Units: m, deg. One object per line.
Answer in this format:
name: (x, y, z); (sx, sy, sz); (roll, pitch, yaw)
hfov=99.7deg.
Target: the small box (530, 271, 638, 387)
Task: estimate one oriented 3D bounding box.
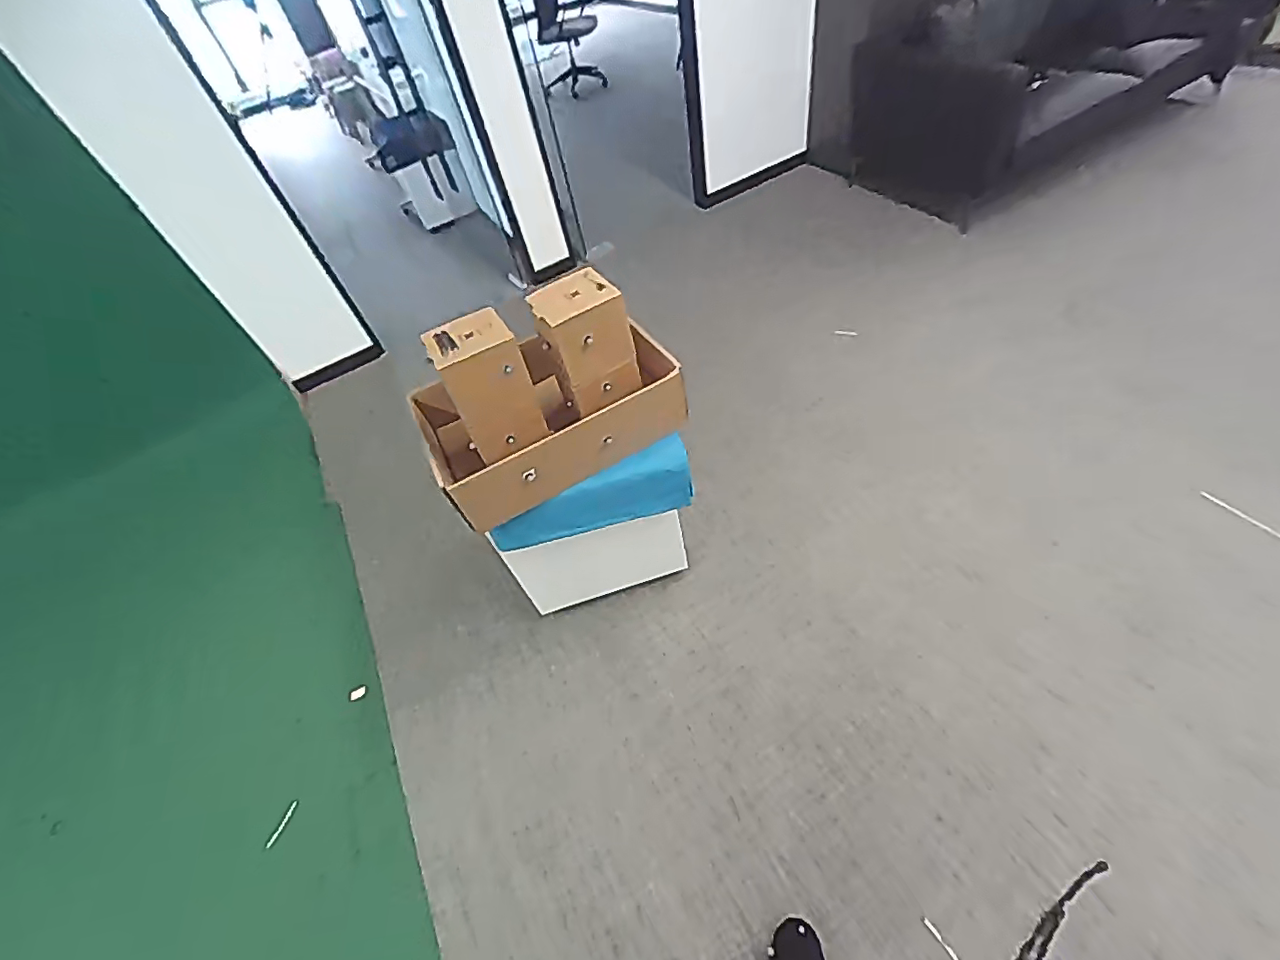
small box: (-0.125, -0.349, 1.265); (0.179, 0.176, 0.168); (-30, 50, -9)
